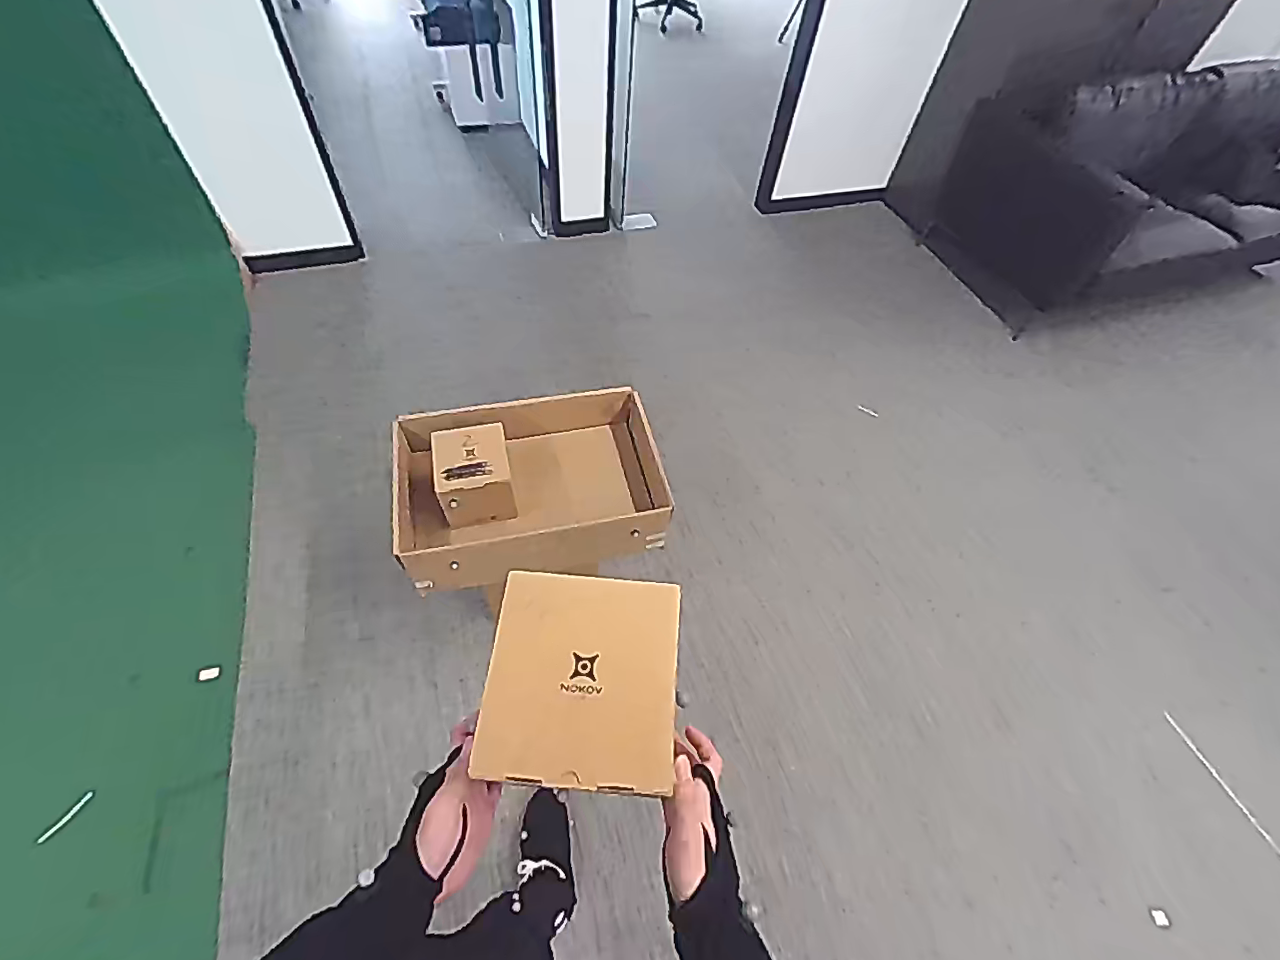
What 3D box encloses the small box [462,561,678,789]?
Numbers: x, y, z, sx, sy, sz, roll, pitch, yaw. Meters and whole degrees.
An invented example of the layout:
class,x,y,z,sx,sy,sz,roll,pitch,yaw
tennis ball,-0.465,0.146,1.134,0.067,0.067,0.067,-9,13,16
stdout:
class,x,y,z,sx,sy,sz,roll,pitch,yaw
small box,-0.058,0.197,0.534,0.168,0.176,0.179,5,61,0
